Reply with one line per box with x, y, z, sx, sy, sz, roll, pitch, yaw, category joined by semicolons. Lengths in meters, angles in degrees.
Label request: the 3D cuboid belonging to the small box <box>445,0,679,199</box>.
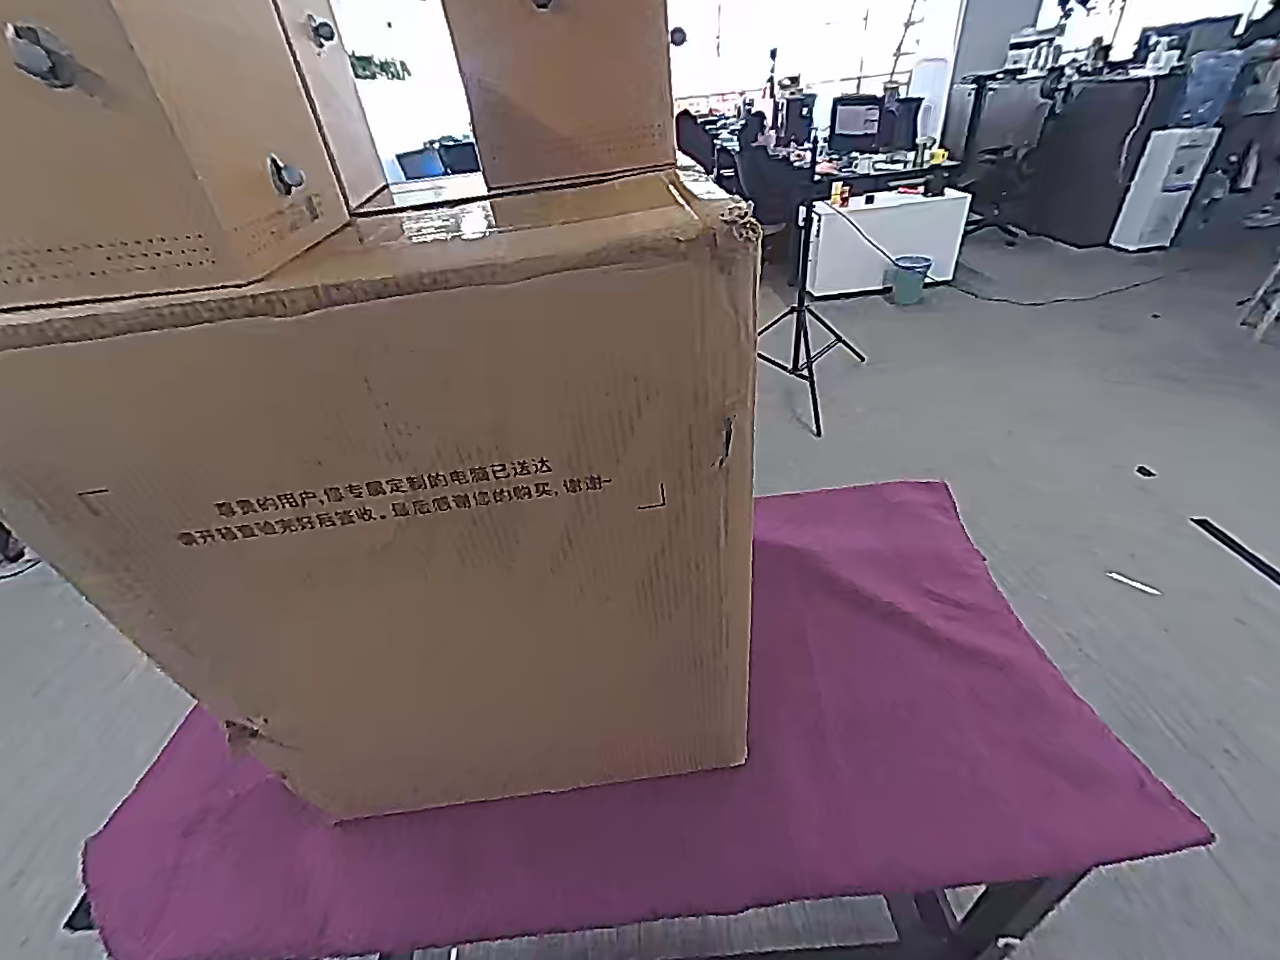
-0.055;-0.374;0.499;0.179;0.176;0.168;-5;36;5;small box
